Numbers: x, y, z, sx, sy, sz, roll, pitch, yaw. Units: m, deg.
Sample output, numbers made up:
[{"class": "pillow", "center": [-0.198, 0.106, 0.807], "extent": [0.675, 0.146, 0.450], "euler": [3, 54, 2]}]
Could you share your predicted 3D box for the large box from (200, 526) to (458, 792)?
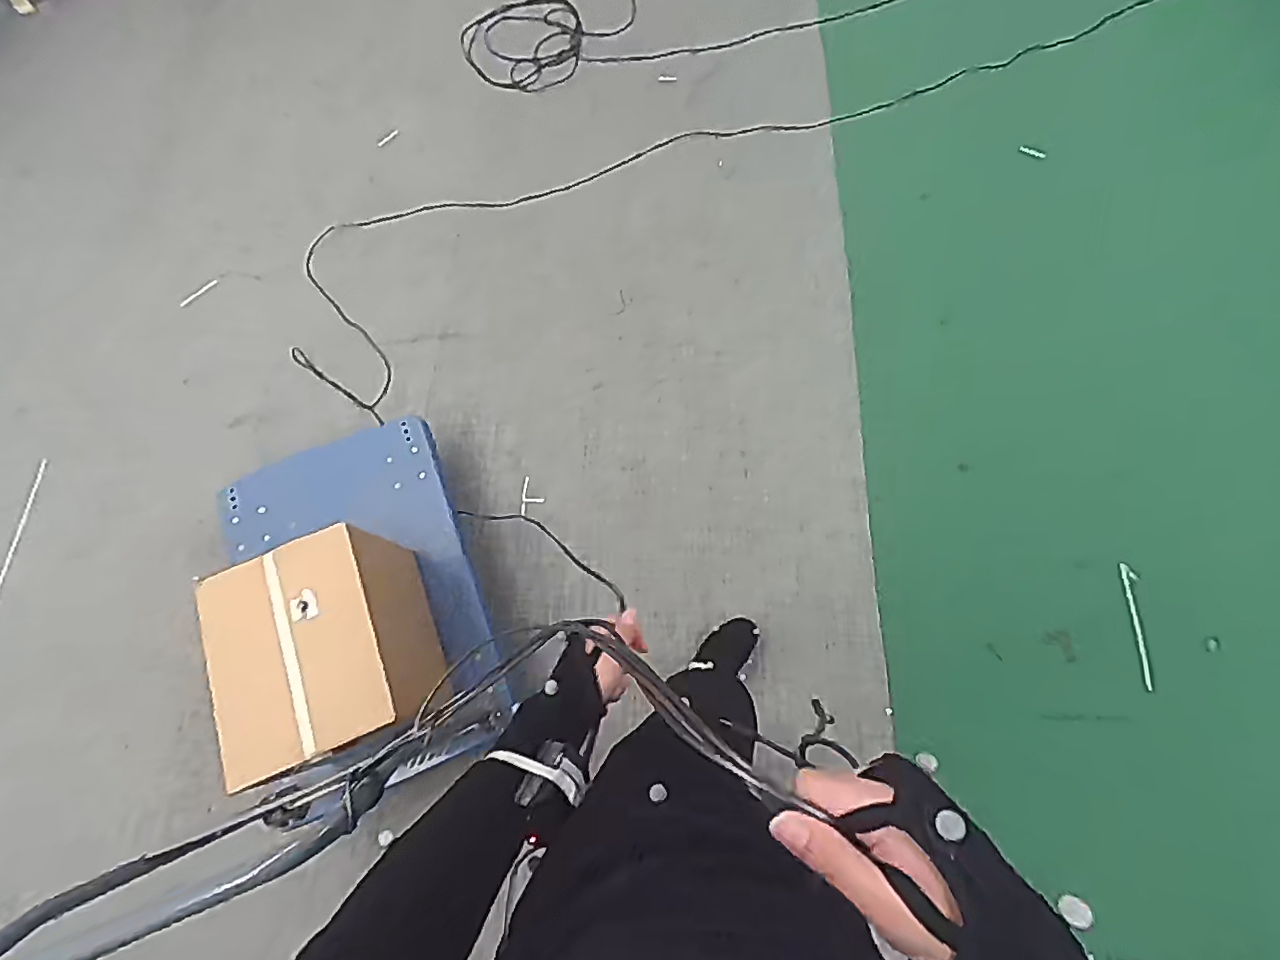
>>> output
[{"class": "large box", "center": [-0.642, 0.368, 1.157], "extent": [0.320, 0.320, 0.408], "euler": [-23, 71, -5]}]
